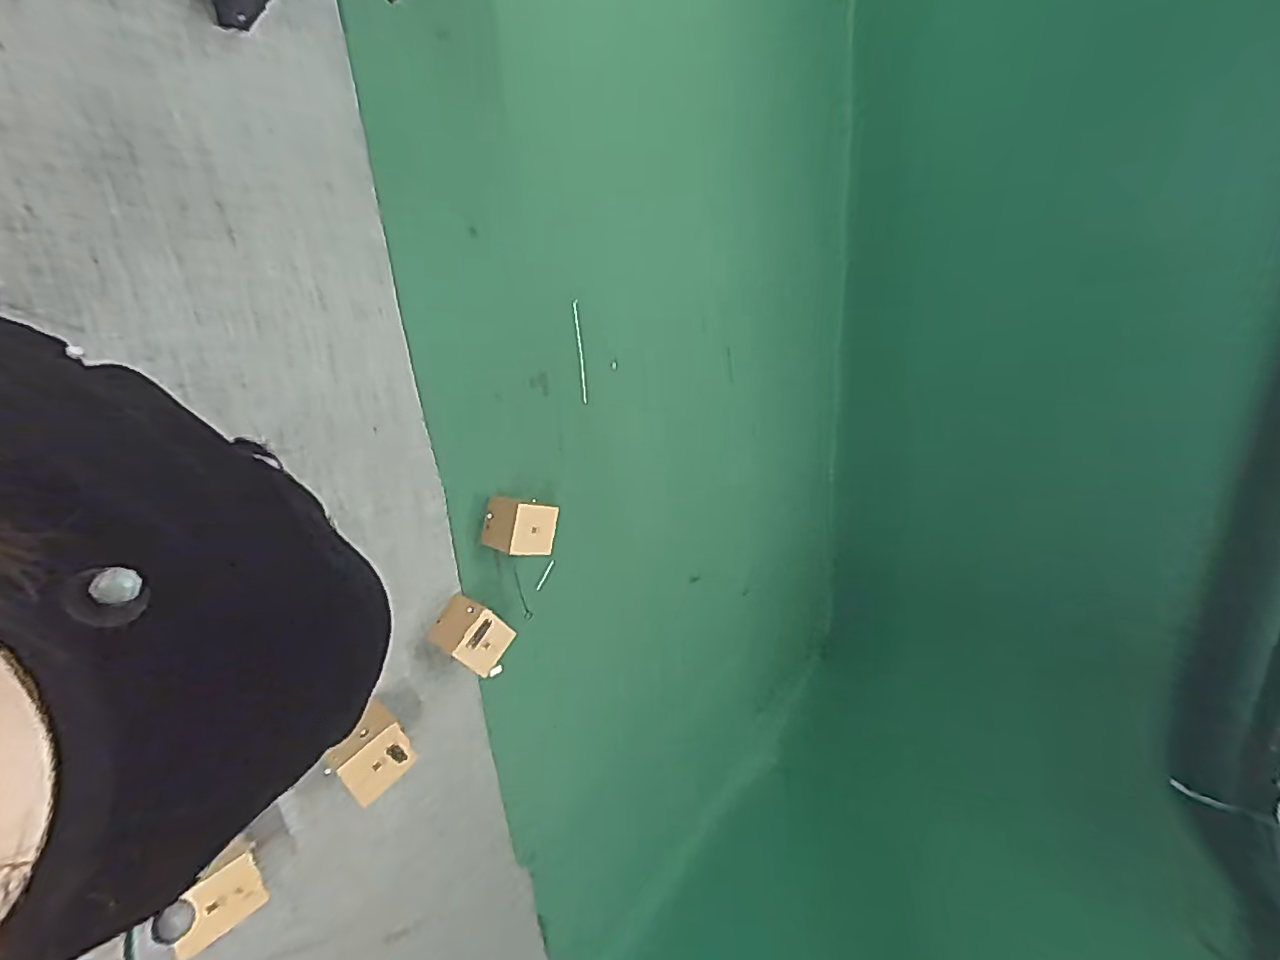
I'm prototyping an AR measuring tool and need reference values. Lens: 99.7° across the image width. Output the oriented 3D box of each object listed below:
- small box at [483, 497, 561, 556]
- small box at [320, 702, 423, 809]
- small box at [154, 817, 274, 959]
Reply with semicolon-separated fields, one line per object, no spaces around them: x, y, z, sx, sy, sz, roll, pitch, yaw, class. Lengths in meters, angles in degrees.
-0.397;0.156;1.818;0.179;0.176;0.168;11;89;-50;small box
-0.756;0.765;1.521;0.179;0.176;0.168;-37;124;-38;small box
-1.003;0.951;1.270;0.179;0.176;0.168;-23;116;-45;small box
